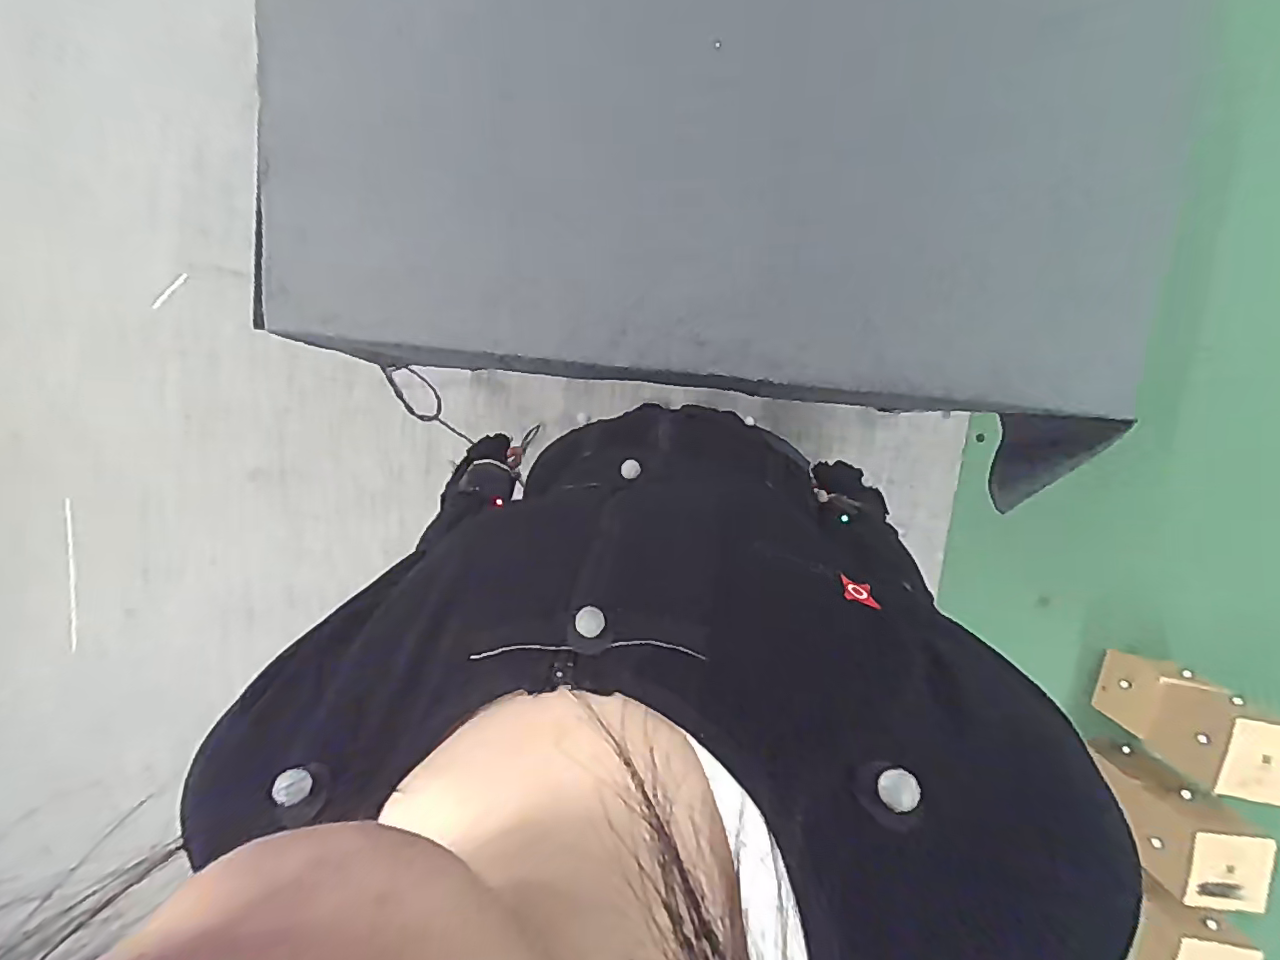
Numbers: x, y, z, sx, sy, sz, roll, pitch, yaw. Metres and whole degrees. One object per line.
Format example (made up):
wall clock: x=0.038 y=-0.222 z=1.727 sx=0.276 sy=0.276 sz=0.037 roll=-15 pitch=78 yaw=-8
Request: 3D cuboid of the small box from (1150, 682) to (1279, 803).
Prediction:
small box: x=1.315 y=0.582 z=1.218 sx=0.168 sy=0.176 sz=0.179 roll=11 pitch=96 yaw=2

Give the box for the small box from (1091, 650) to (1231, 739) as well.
small box: x=1.316 y=0.555 z=1.381 sx=0.179 sy=0.176 sz=0.168 roll=12 pitch=96 yaw=2

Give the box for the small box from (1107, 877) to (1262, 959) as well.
small box: x=1.273 y=1.086 z=1.277 sx=0.179 sy=0.176 sz=0.168 roll=8 pitch=97 yaw=2
